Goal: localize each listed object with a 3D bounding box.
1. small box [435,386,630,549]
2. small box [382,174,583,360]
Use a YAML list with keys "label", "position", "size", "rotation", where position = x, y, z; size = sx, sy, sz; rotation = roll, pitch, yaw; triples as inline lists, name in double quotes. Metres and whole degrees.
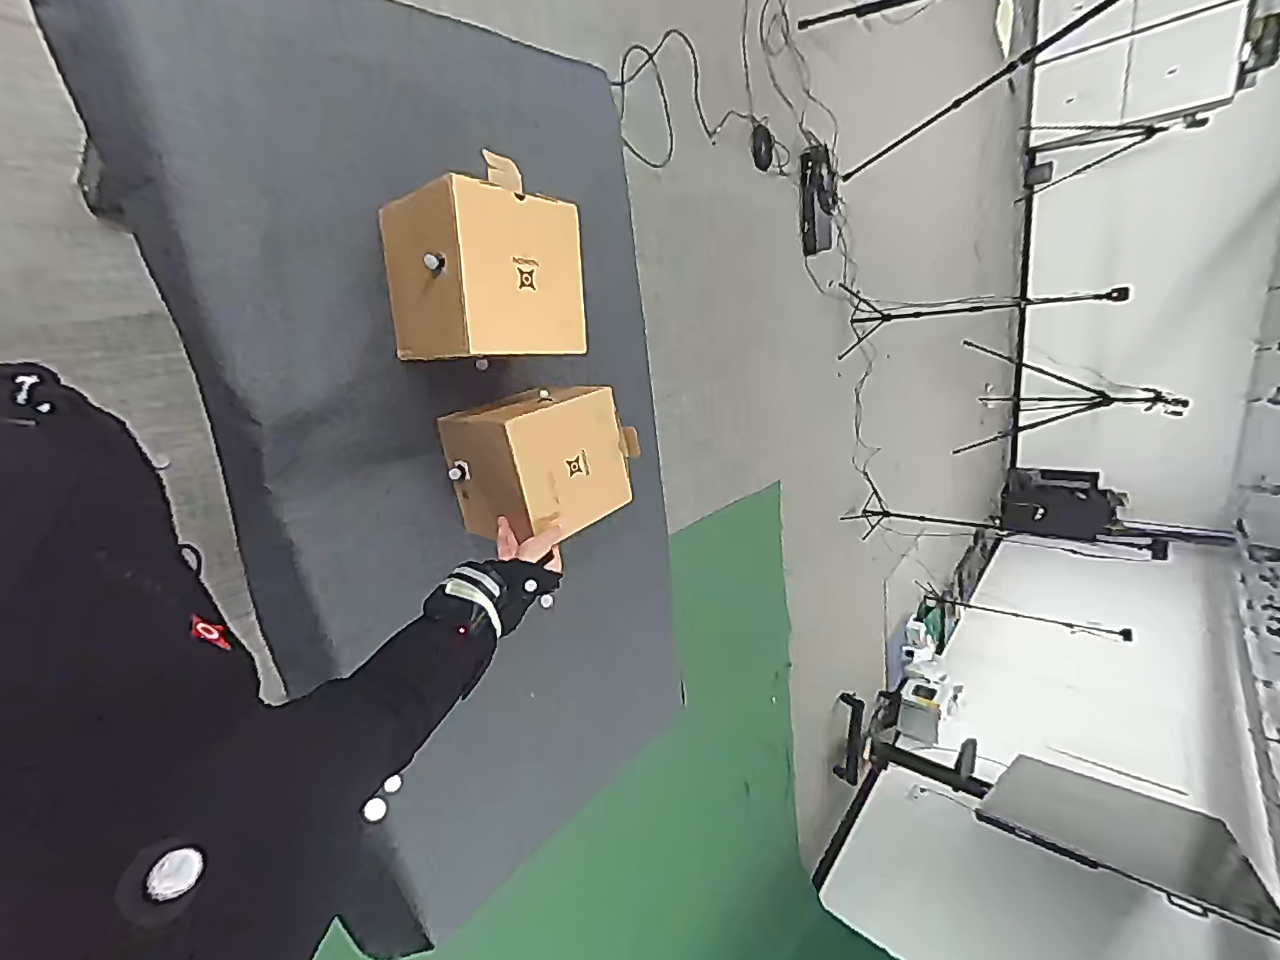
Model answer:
- label: "small box"
  position: [-0.144, -0.027, 0.740]
  size: [0.179, 0.176, 0.168]
  rotation: [-30, 115, -42]
- label: "small box"
  position: [-0.189, -0.238, 0.657]
  size: [0.168, 0.176, 0.179]
  rotation: [-16, 106, -47]
